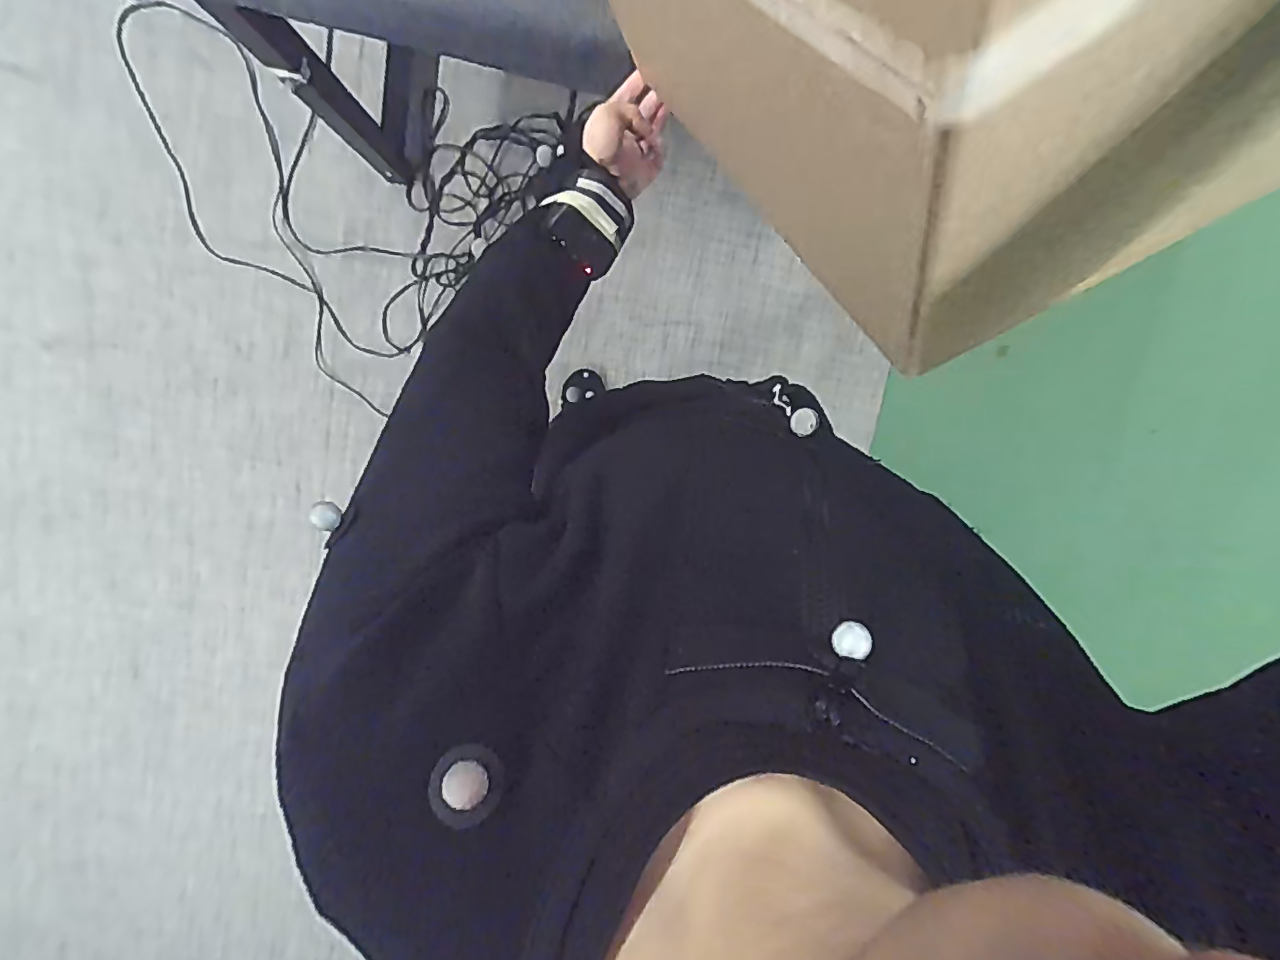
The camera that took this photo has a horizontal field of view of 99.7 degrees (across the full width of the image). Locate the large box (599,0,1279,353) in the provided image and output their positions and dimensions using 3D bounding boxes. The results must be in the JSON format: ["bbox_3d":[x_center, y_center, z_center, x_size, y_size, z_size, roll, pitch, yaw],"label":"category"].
[{"bbox_3d":[0.147,-0.345,0.242,0.320,0.320,0.408,-31,61,6],"label":"large box"}]
